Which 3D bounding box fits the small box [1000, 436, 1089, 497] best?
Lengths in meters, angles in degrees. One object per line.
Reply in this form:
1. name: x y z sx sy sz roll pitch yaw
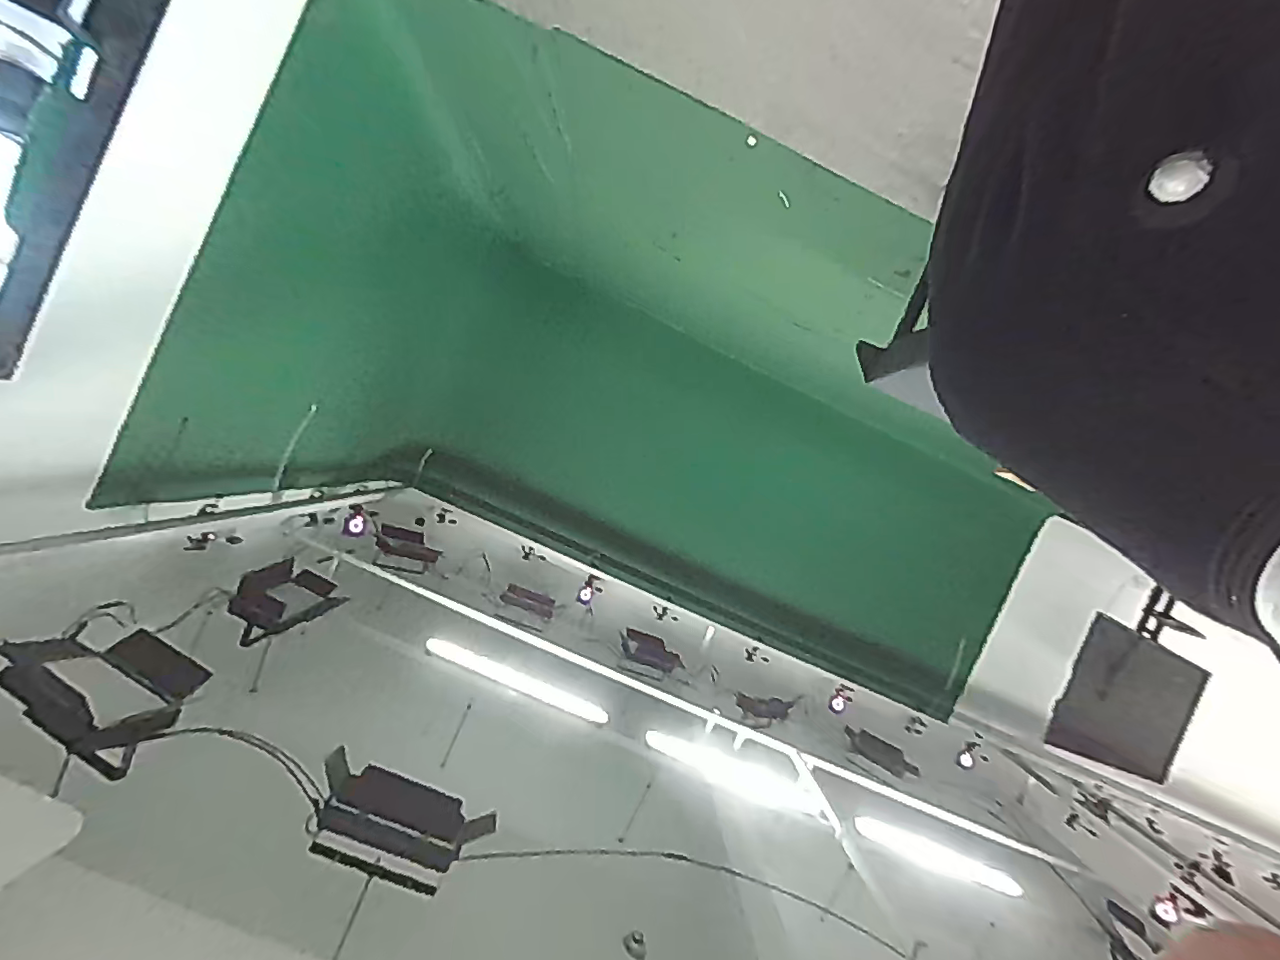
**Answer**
1. small box: 1.477 -0.051 1.975 0.168 0.176 0.179 25 180 0
